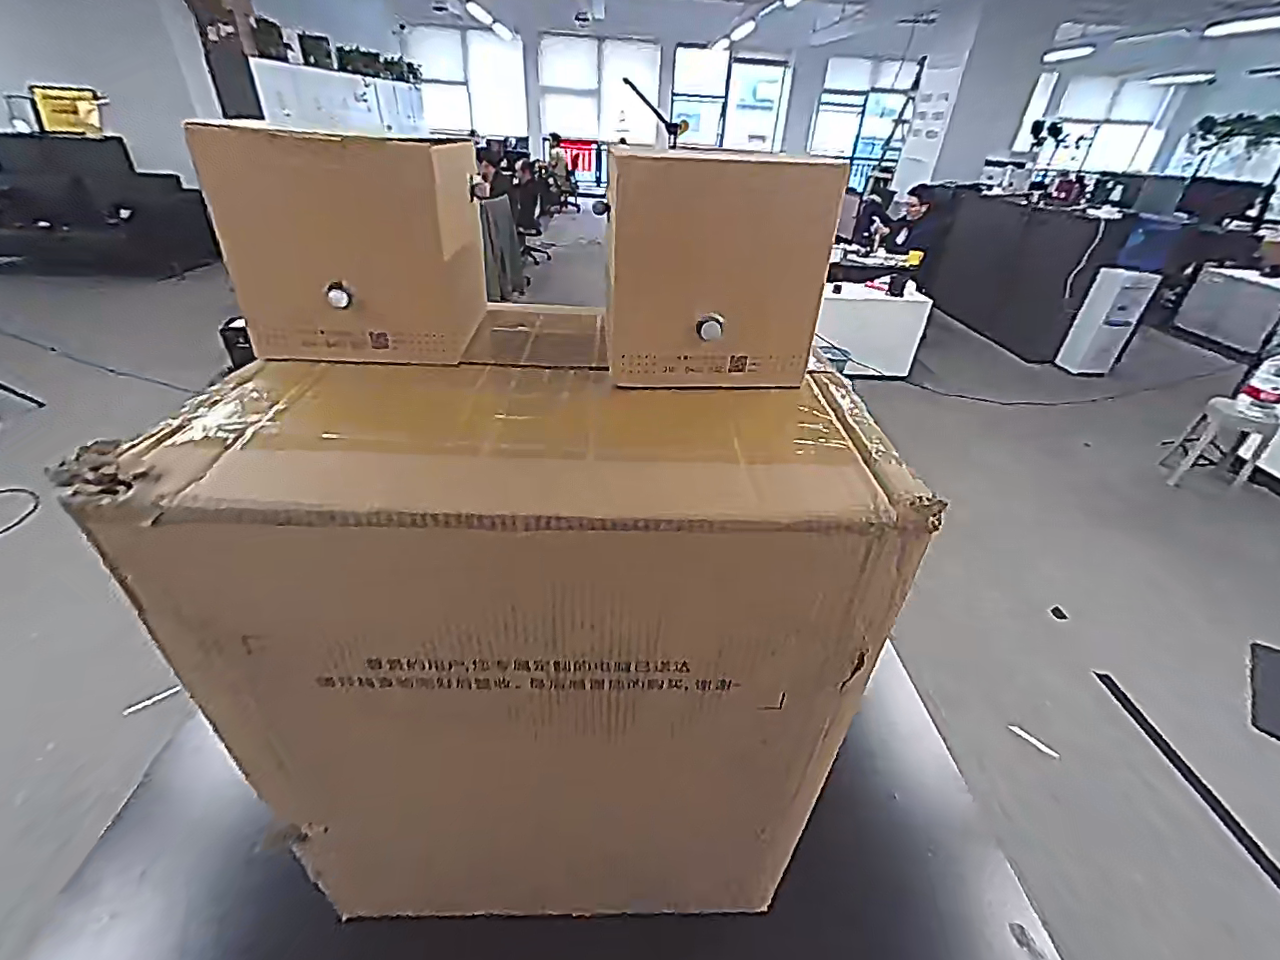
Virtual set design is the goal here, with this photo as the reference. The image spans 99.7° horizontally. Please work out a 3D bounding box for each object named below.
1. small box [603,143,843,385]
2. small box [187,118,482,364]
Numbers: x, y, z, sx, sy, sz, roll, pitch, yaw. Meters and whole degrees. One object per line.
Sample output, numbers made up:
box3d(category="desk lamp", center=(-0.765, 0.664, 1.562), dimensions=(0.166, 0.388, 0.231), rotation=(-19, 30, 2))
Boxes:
box3d(category="small box", center=(0.051, -0.195, 0.481), dimensions=(0.168, 0.176, 0.179), rotation=(-1, 33, -5))
box3d(category="small box", center=(-0.243, -0.216, 0.489), dimensions=(0.168, 0.176, 0.179), rotation=(0, 32, -6))
